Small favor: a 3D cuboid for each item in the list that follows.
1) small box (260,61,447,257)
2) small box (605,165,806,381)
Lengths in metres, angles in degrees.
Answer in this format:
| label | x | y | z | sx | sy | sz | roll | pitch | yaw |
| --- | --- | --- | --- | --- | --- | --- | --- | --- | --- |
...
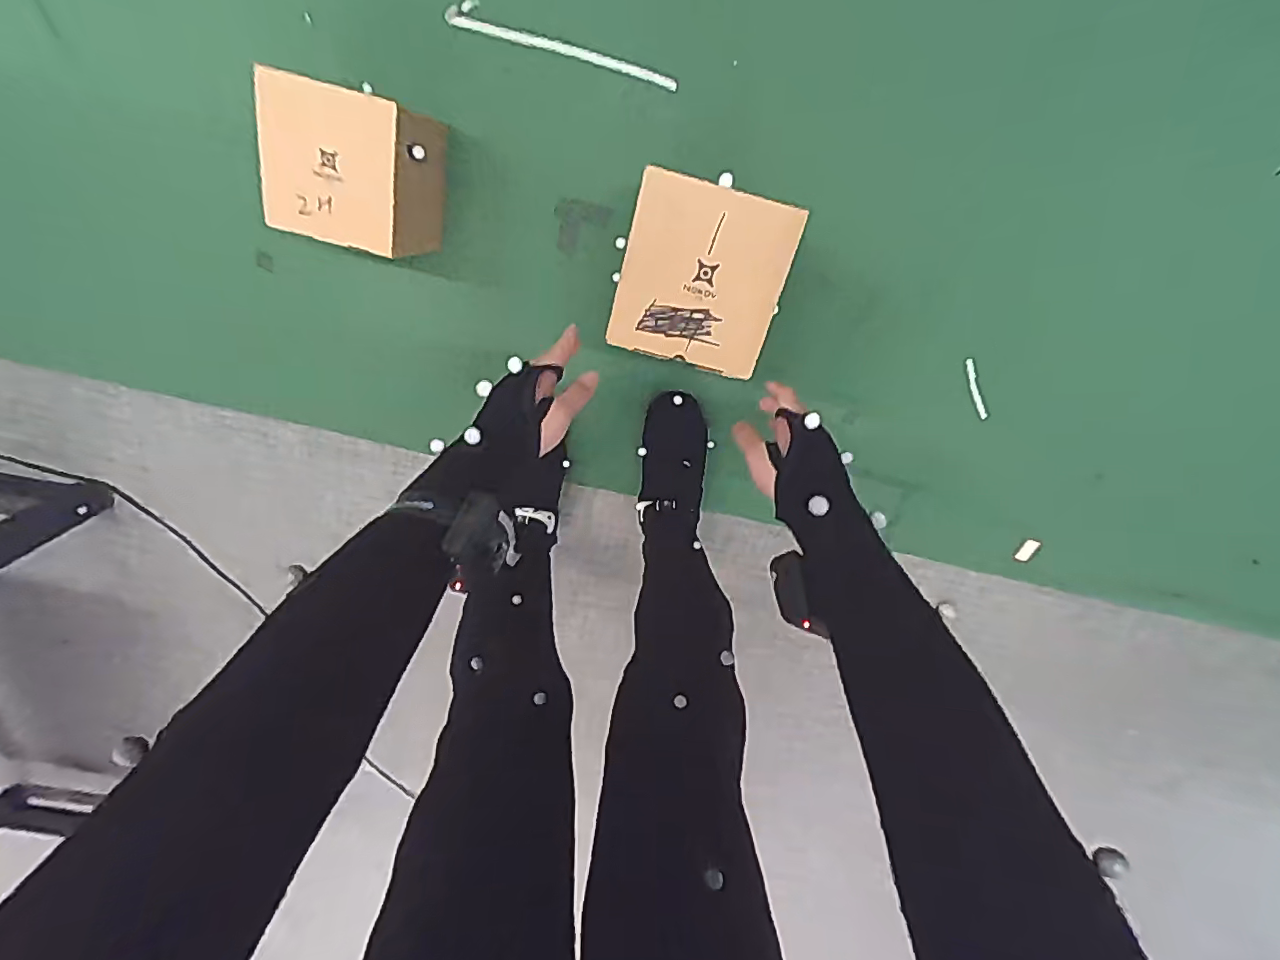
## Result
| label | x | y | z | sx | sy | sz | roll | pitch | yaw |
| --- | --- | --- | --- | --- | --- | --- | --- | --- | --- |
| small box | -0.374 | -0.420 | 0.732 | 0.168 | 0.176 | 0.179 | 14 | 117 | -4 |
| small box | 0.065 | -0.239 | 0.623 | 0.168 | 0.176 | 0.179 | 14 | 117 | -6 |
